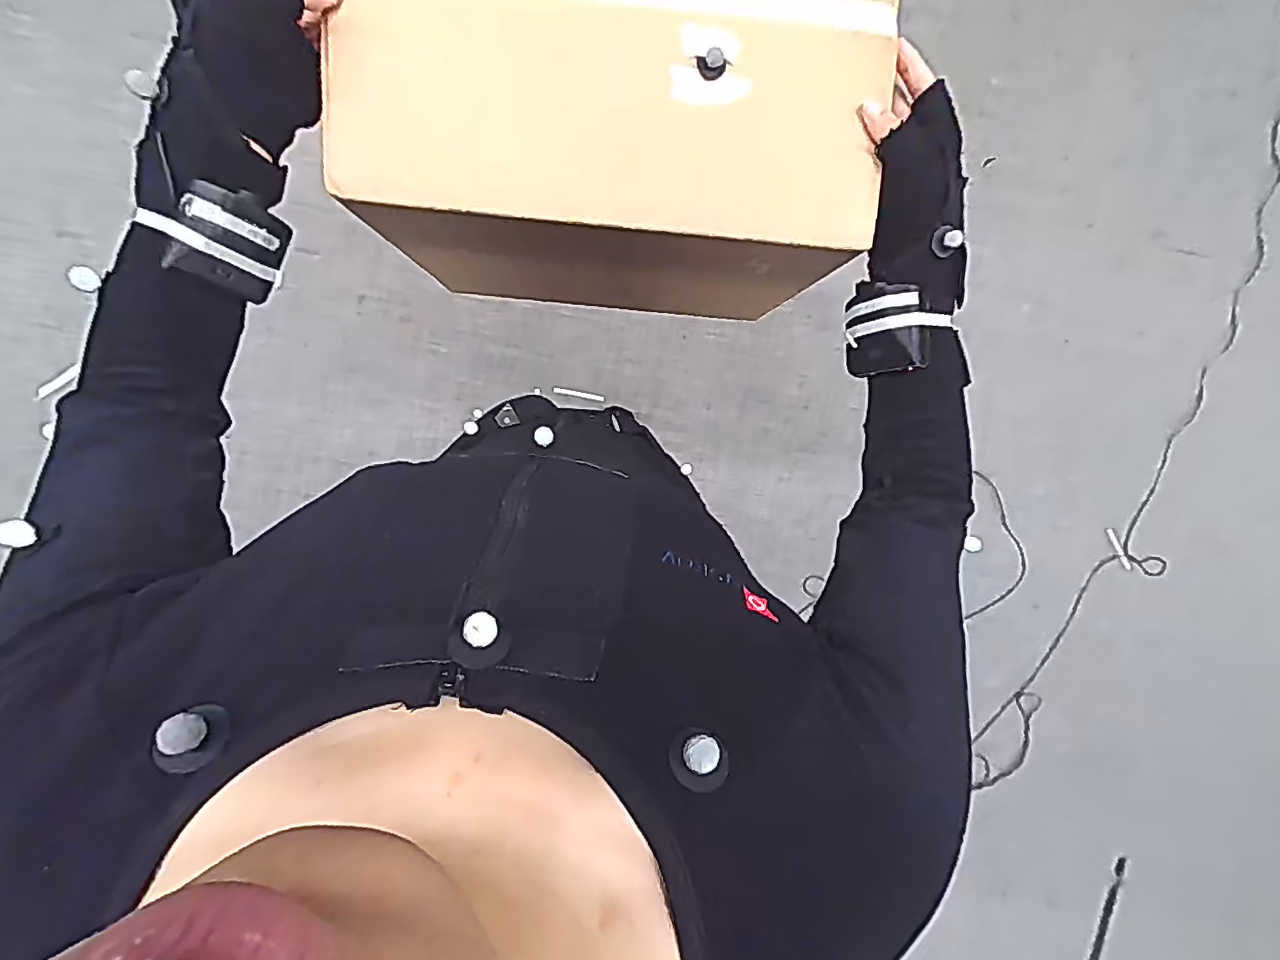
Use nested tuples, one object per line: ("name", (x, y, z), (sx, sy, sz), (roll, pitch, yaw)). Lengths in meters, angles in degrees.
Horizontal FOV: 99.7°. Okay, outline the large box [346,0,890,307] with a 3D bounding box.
("large box", (-0.022, -0.373, 0.542), (0.408, 0.320, 0.320), (4, 97, -5))
